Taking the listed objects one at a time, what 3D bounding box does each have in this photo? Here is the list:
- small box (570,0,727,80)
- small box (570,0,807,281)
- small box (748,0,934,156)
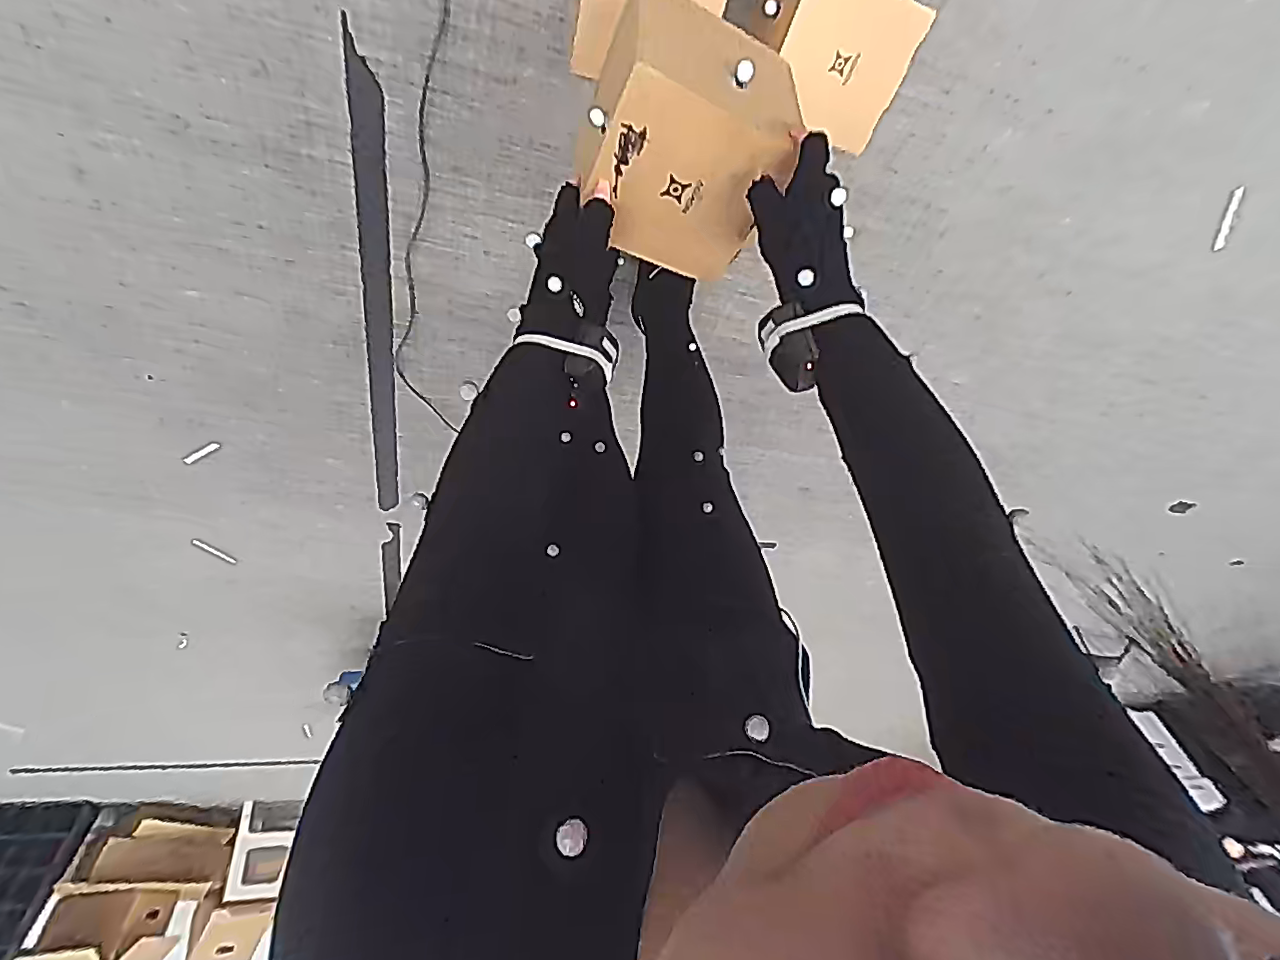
[{"bbox_3d":[0.006,-0.606,0.680,0.168,0.176,0.179,7,136,-15],"label":"small box"},{"bbox_3d":[0.040,-0.347,0.556,0.179,0.176,0.168,12,148,-22],"label":"small box"},{"bbox_3d":[0.247,-0.585,0.745,0.179,0.176,0.168,7,135,-18],"label":"small box"}]
